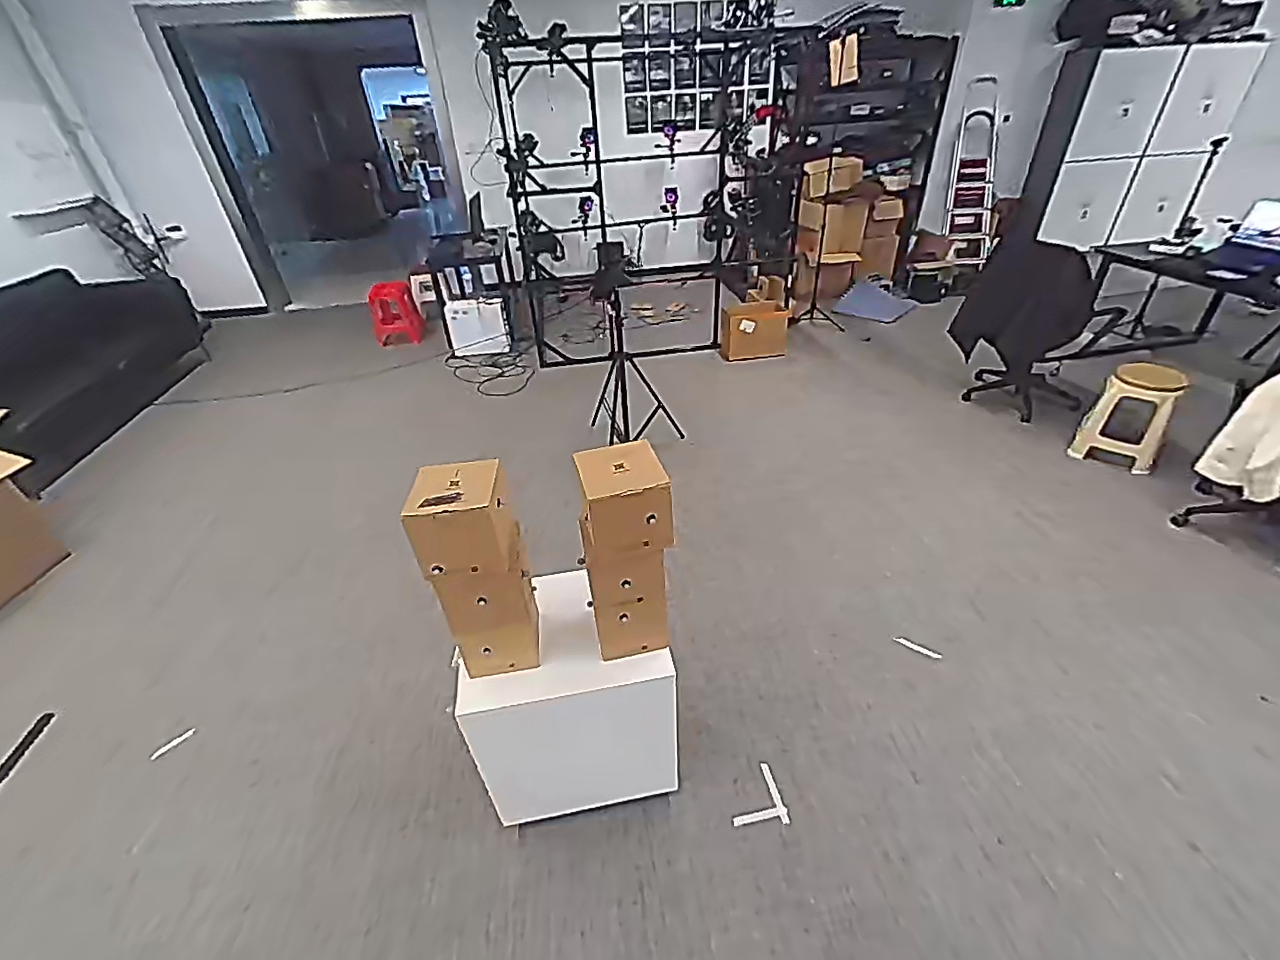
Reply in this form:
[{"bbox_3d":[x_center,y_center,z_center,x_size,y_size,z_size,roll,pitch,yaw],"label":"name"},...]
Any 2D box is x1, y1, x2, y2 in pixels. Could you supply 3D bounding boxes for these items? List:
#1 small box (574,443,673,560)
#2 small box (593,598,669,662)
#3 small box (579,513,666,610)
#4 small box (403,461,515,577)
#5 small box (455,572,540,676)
[{"bbox_3d":[-0.033,0.048,1.129,0.168,0.176,0.179,-12,35,-11],"label":"small box"},{"bbox_3d":[-0.029,0.312,1.324,0.168,0.176,0.179,-11,35,-7],"label":"small box"},{"bbox_3d":[-0.039,0.177,1.230,0.168,0.176,0.179,-9,35,-7],"label":"small box"},{"bbox_3d":[-0.359,0.085,1.110,0.168,0.176,0.179,-6,34,-3],"label":"small box"},{"bbox_3d":[-0.334,0.351,1.303,0.168,0.176,0.179,-7,35,-6],"label":"small box"}]
